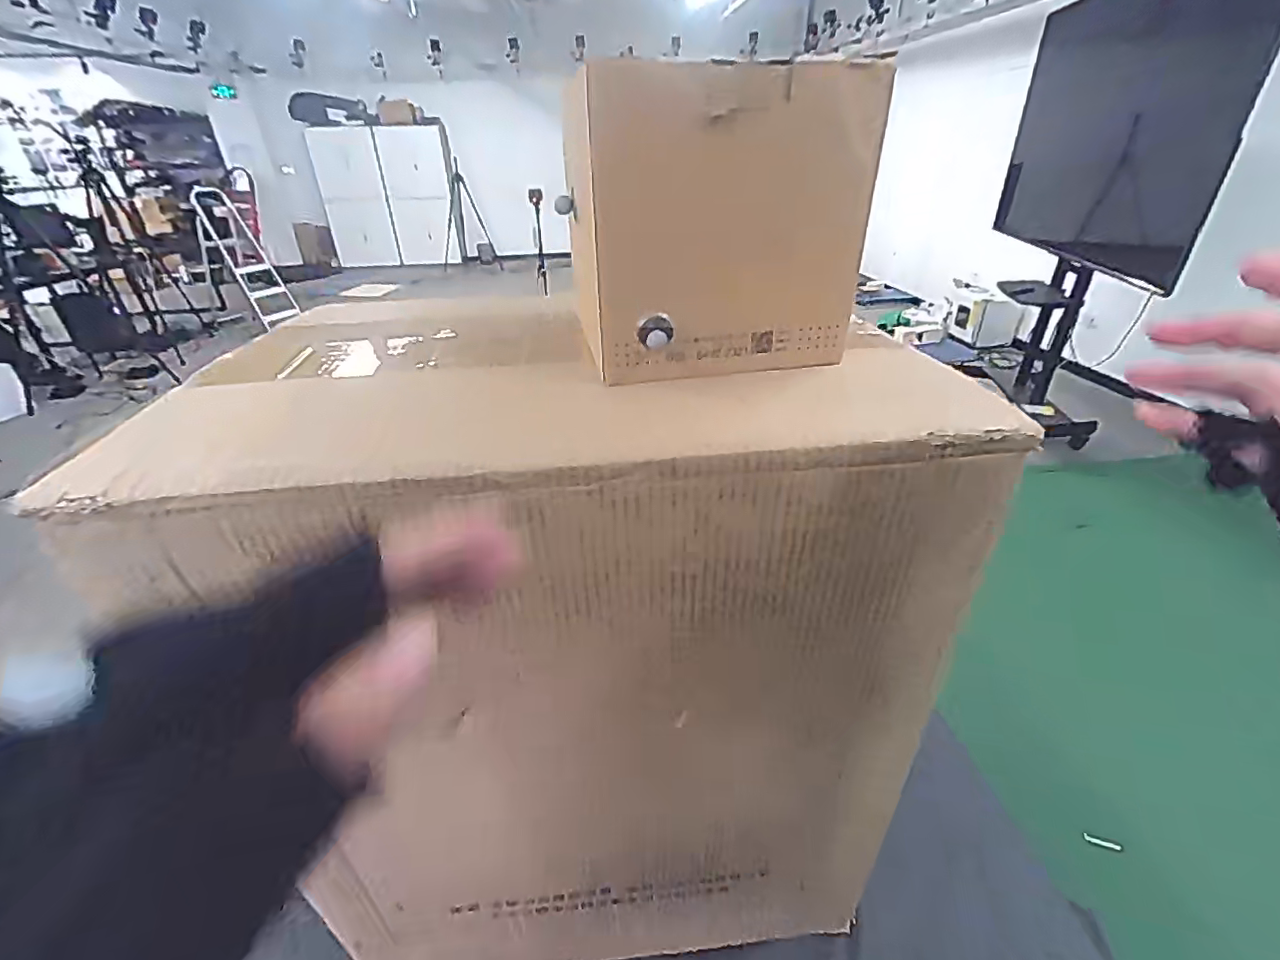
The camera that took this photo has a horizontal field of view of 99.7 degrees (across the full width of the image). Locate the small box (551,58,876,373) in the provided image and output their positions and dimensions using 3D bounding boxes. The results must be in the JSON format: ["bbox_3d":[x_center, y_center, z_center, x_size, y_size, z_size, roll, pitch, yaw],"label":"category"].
[{"bbox_3d":[0.033,-0.180,0.382,0.168,0.176,0.179,-8,33,-9],"label":"small box"}]
